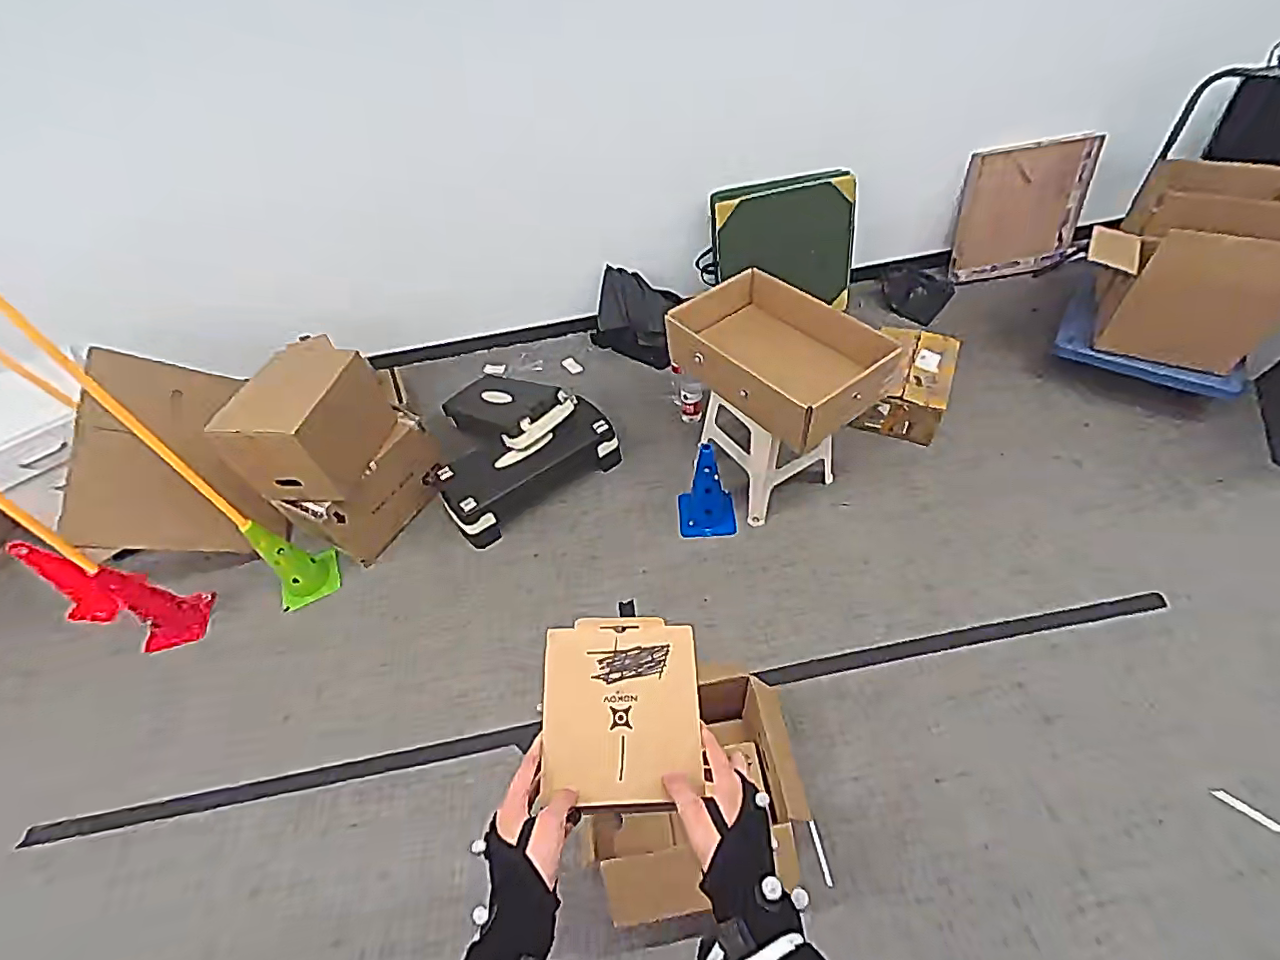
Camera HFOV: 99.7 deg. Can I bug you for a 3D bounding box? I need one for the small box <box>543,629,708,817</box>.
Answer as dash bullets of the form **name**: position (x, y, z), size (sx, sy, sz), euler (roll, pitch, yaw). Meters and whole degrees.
- **small box**: position (-0.020, 0.289, 0.638), size (0.168, 0.176, 0.179), euler (0, 56, -3)
